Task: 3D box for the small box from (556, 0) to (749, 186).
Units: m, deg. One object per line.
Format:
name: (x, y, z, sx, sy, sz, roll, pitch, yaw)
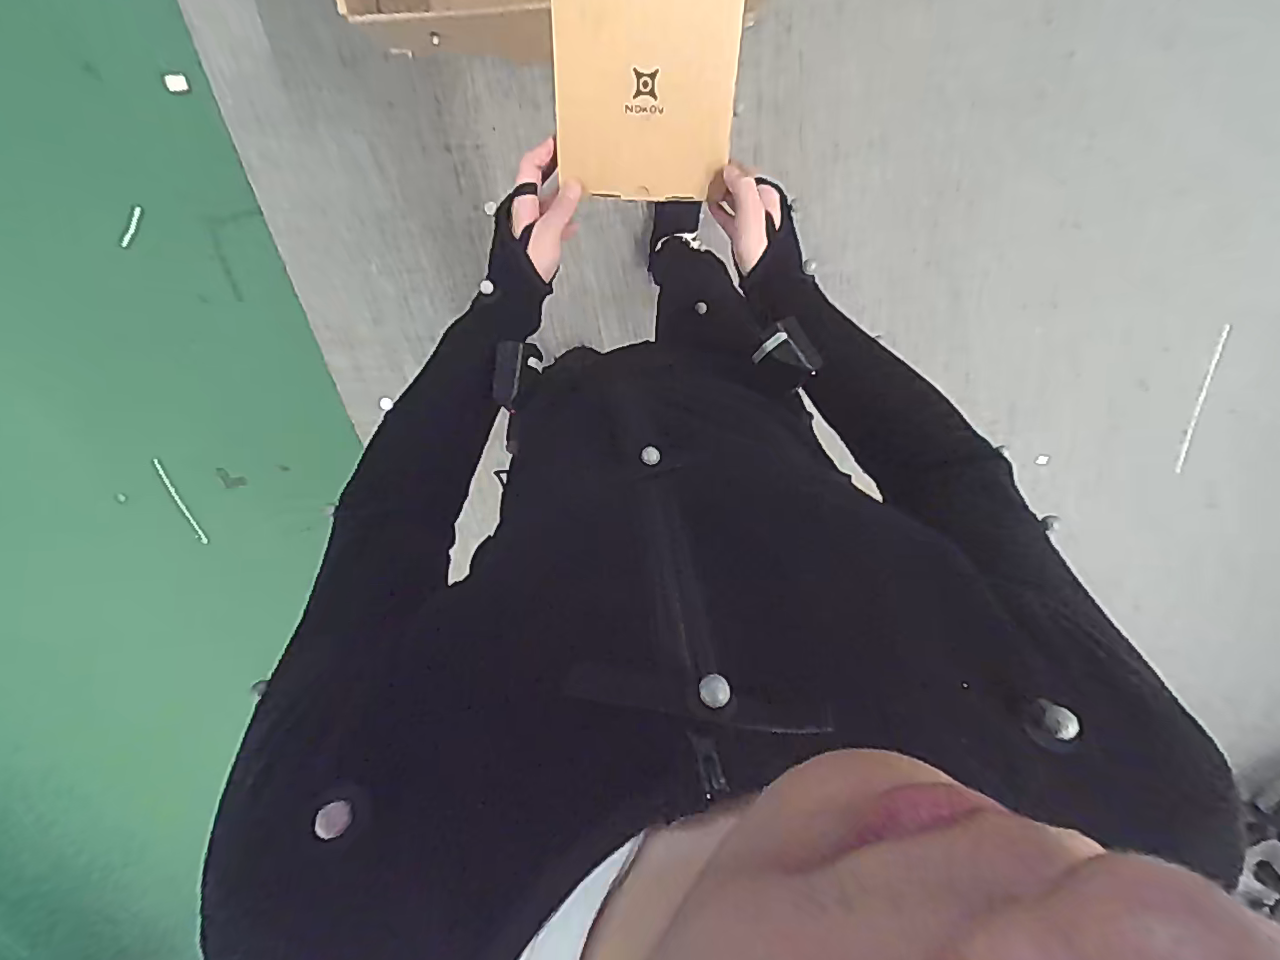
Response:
small box: (0.006, -0.403, 0.544, 0.168, 0.176, 0.179, 1, 123, -1)
